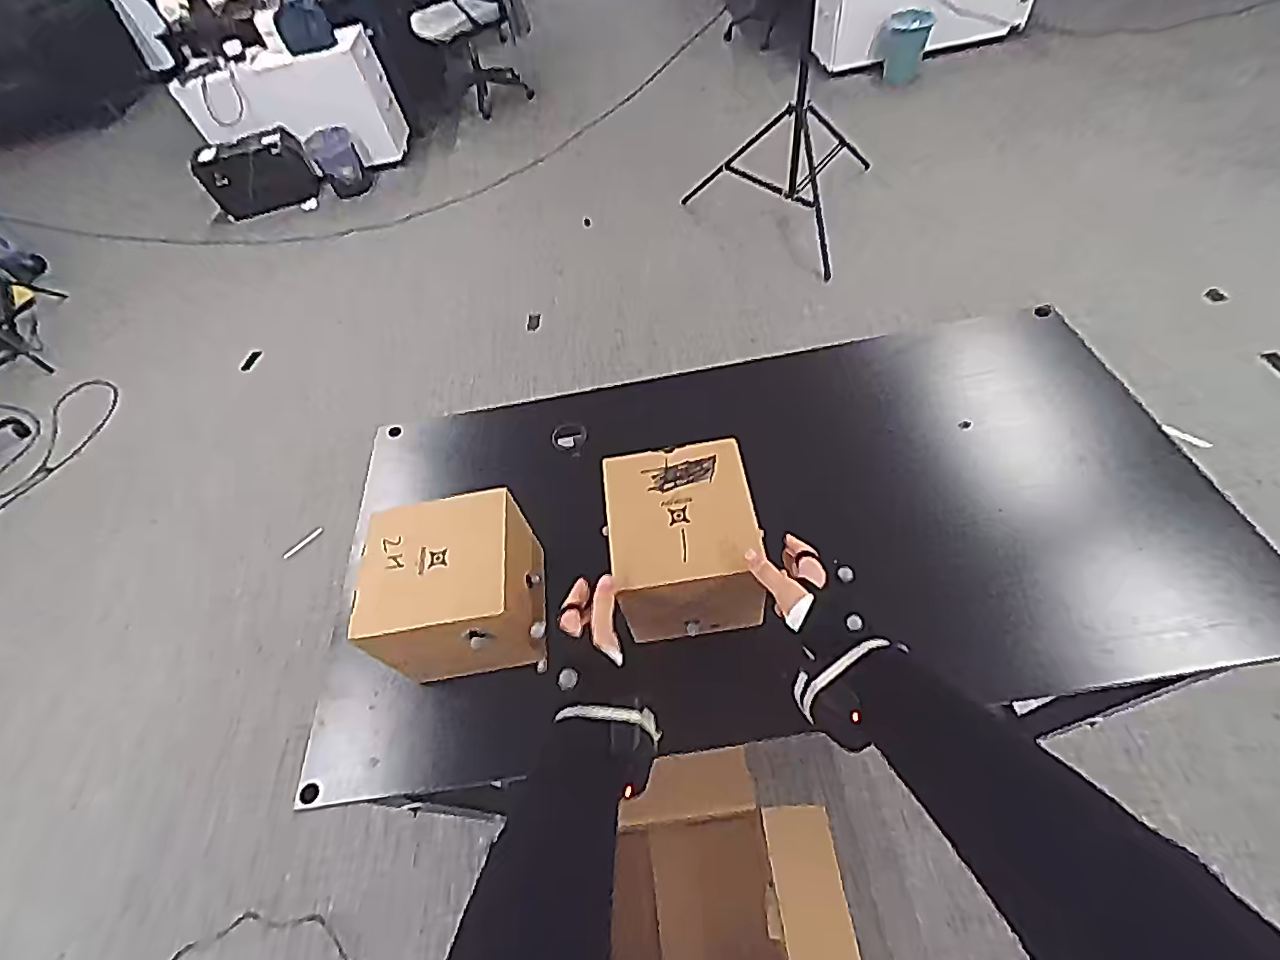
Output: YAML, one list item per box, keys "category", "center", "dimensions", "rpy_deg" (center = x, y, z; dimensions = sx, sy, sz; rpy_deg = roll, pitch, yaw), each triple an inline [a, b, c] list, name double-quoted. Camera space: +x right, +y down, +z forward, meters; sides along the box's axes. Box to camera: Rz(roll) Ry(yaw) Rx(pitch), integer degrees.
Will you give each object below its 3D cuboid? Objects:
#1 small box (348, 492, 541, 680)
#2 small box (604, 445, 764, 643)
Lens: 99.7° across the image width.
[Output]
- category: "small box"
  center: [-0.227, 0.140, 0.686]
  dimensions: [0.179, 0.176, 0.168]
  rpy_deg: [-10, 54, 2]
- category: "small box"
  center: [0.052, 0.084, 0.680]
  dimensions: [0.168, 0.176, 0.179]
  rpy_deg: [-10, 54, 3]
